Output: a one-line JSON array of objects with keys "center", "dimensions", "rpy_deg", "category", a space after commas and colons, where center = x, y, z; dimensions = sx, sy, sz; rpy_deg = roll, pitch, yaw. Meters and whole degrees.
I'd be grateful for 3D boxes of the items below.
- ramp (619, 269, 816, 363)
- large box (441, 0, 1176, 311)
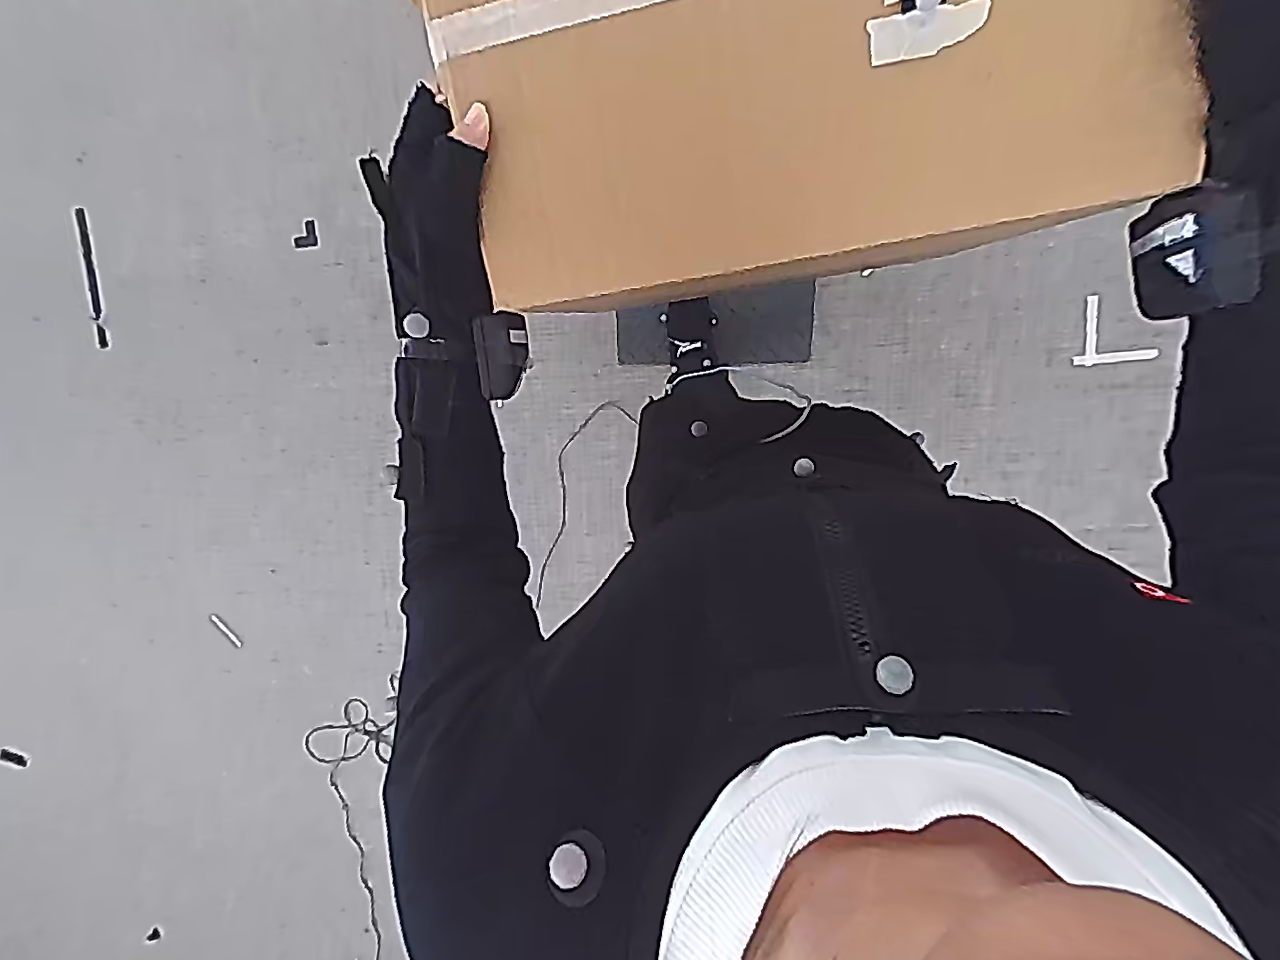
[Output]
[{"center": [0.173, -0.776, 1.229], "dimensions": [0.509, 0.206, 0.991], "rpy_deg": [-1, 100, 8], "category": "ramp"}, {"center": [0.094, -0.335, 0.443], "dimensions": [0.408, 0.320, 0.320], "rpy_deg": [-7, 106, 10], "category": "large box"}]
